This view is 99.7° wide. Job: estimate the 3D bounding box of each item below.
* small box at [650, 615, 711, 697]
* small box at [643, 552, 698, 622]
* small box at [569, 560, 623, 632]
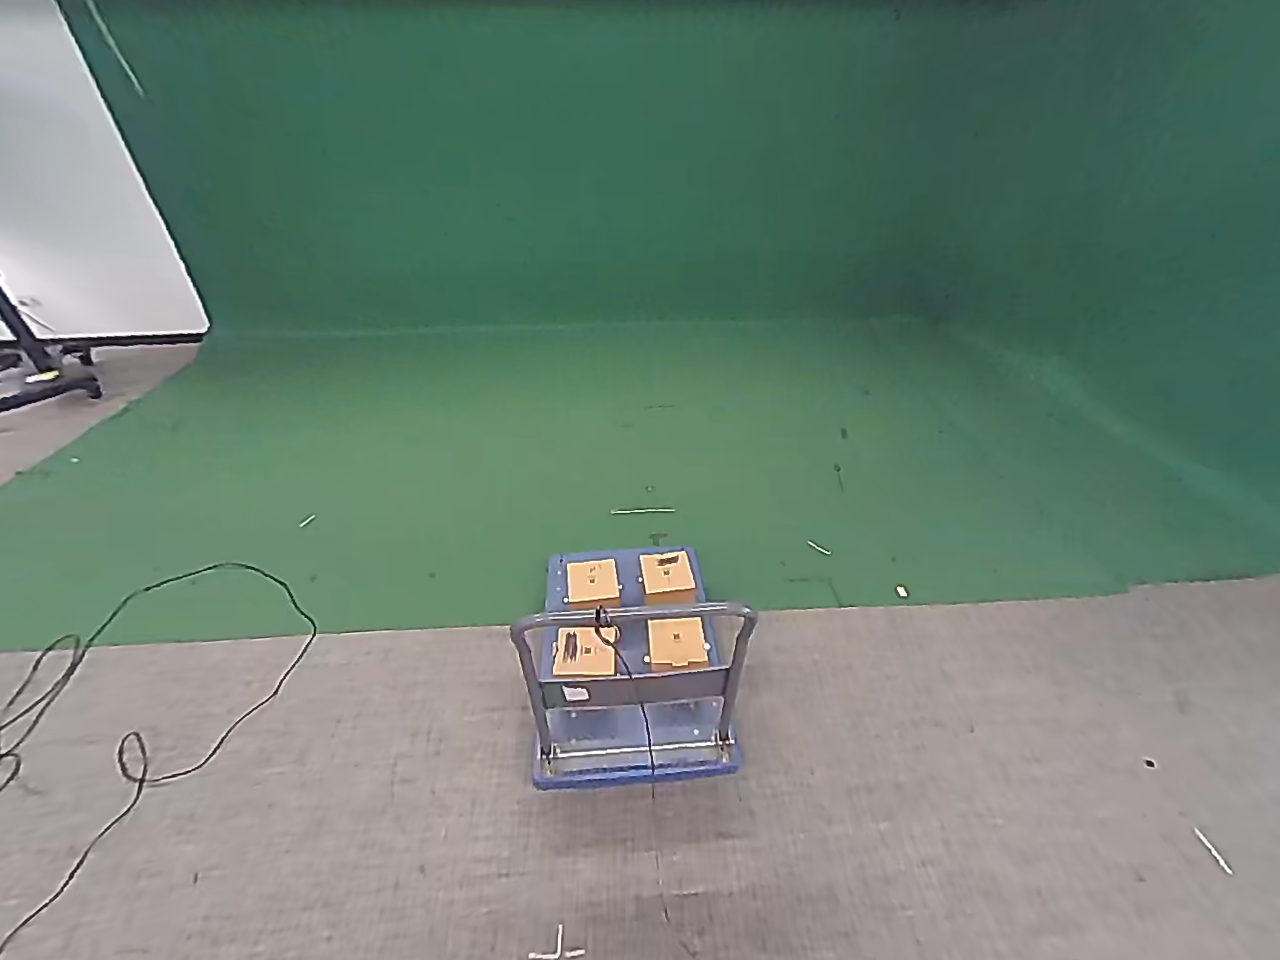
[{"bbox_3d":[0.118,0.535,1.645,0.168,0.176,0.179,-3,37,-2],"label":"small box"},{"bbox_3d":[0.100,0.374,1.861,0.168,0.176,0.179,-6,38,-5],"label":"small box"},{"bbox_3d":[-0.149,0.399,1.836,0.168,0.176,0.179,-5,37,-6],"label":"small box"}]
